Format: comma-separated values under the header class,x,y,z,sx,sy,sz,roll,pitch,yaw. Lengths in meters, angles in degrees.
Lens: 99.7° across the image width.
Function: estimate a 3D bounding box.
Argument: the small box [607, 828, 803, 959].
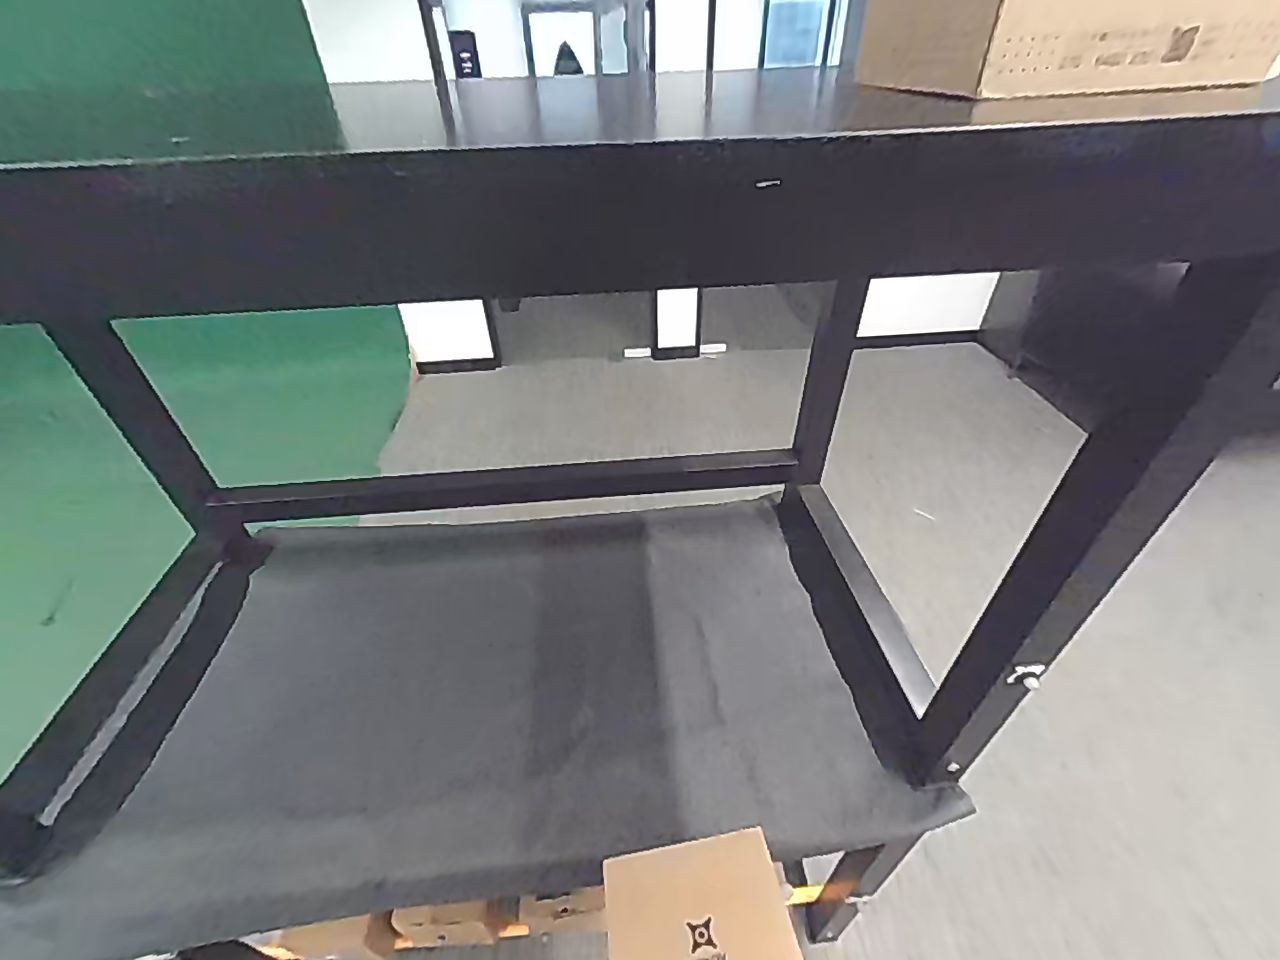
class,x,y,z,sx,sy,sz,roll,pitch,yaw
small box,0.065,0.481,0.517,0.168,0.176,0.179,-10,30,-3
